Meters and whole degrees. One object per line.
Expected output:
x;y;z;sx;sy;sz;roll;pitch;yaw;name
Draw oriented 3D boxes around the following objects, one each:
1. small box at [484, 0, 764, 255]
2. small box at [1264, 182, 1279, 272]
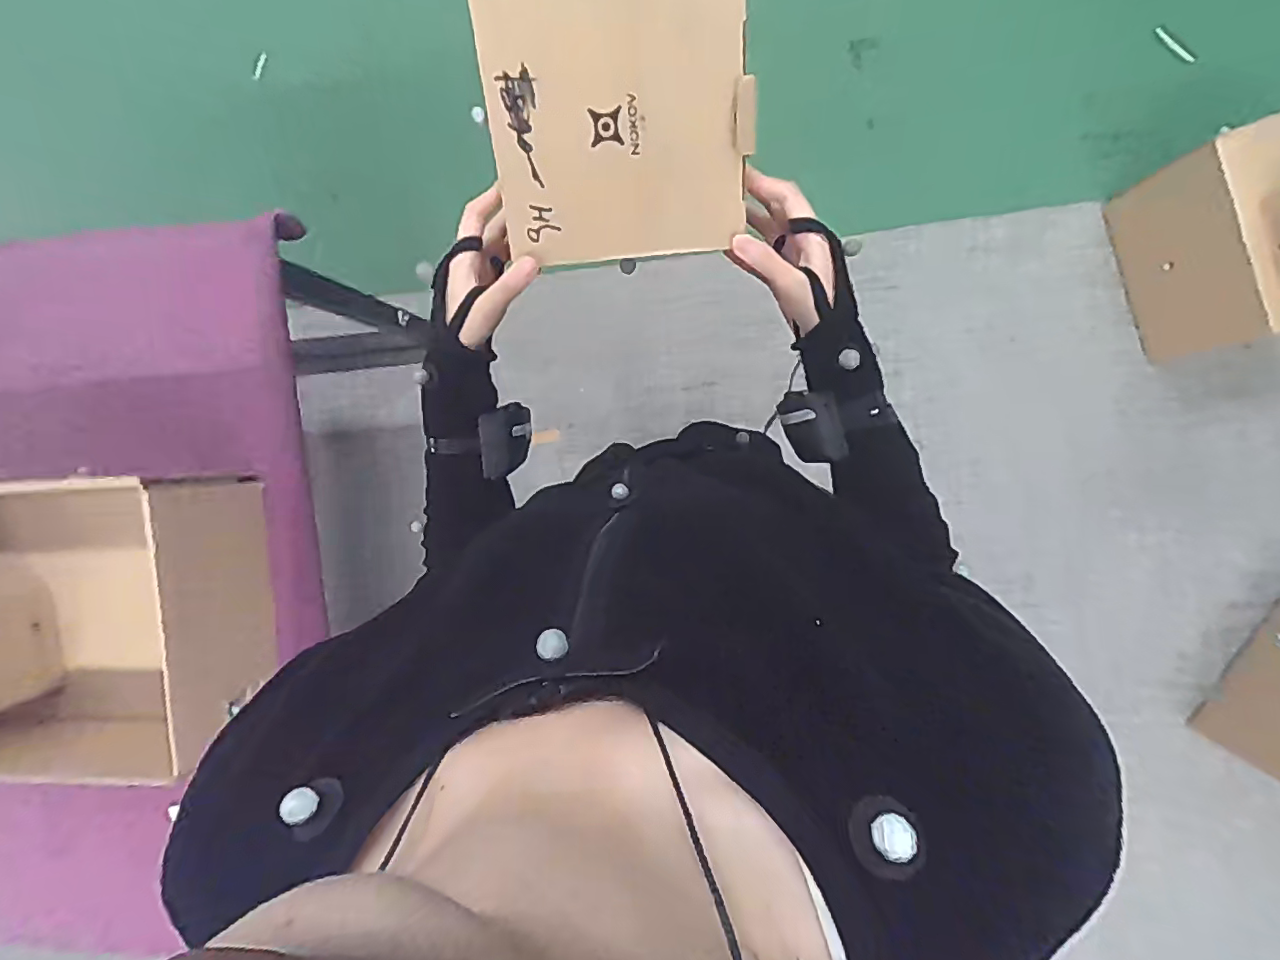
-0.012;-0.275;0.430;0.179;0.176;0.168;-5;114;-2;small box
1.253;-0.480;0.934;0.179;0.176;0.168;-13;93;8;small box
